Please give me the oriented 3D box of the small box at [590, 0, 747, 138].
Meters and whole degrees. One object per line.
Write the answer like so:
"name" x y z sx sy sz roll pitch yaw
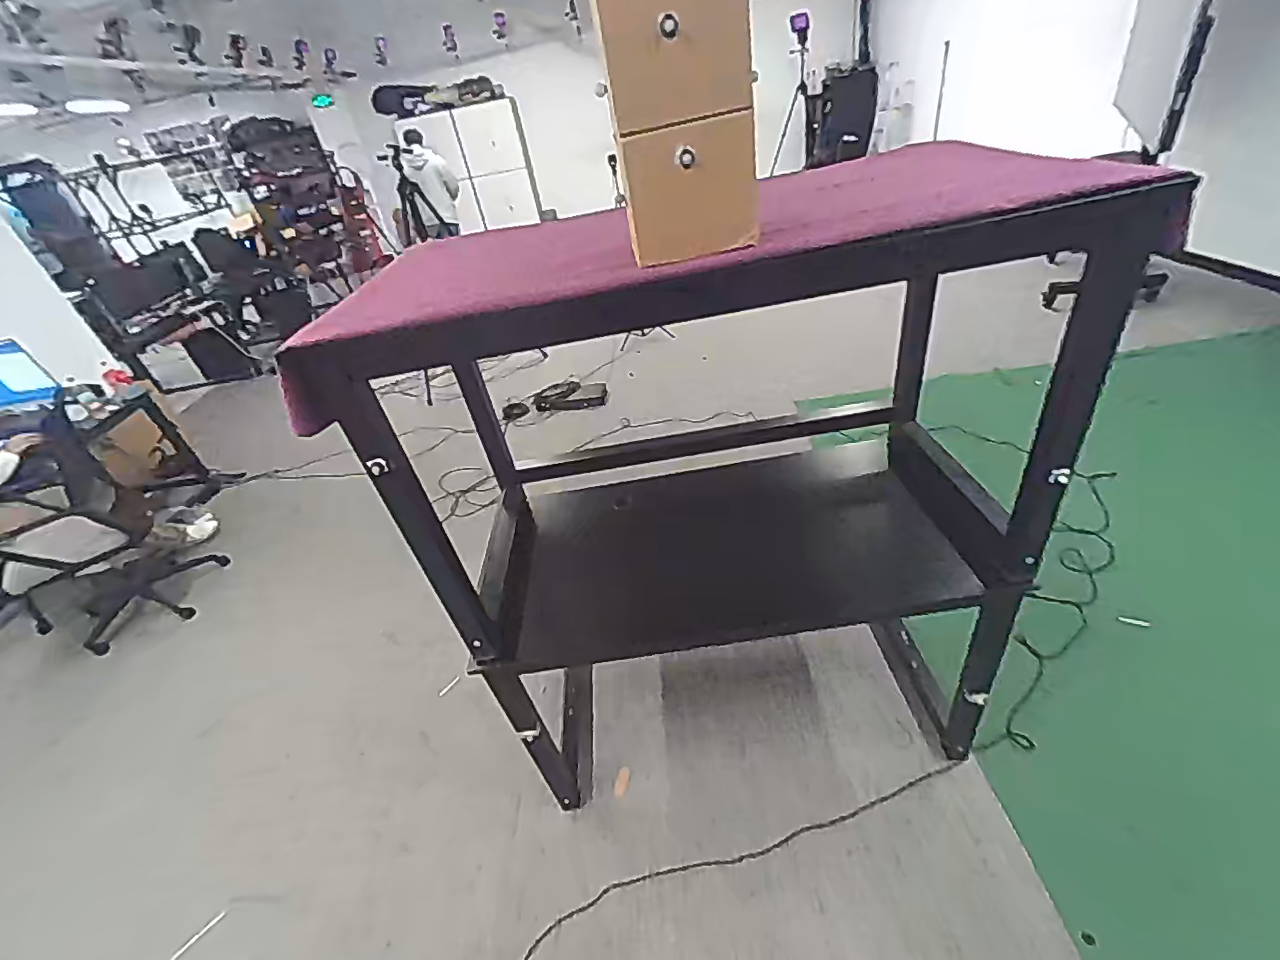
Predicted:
"small box" 0.035 -0.553 0.687 0.179 0.176 0.168 -11 35 3

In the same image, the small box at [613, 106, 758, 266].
"small box" 0.063 -0.422 0.780 0.179 0.176 0.168 -10 35 3
